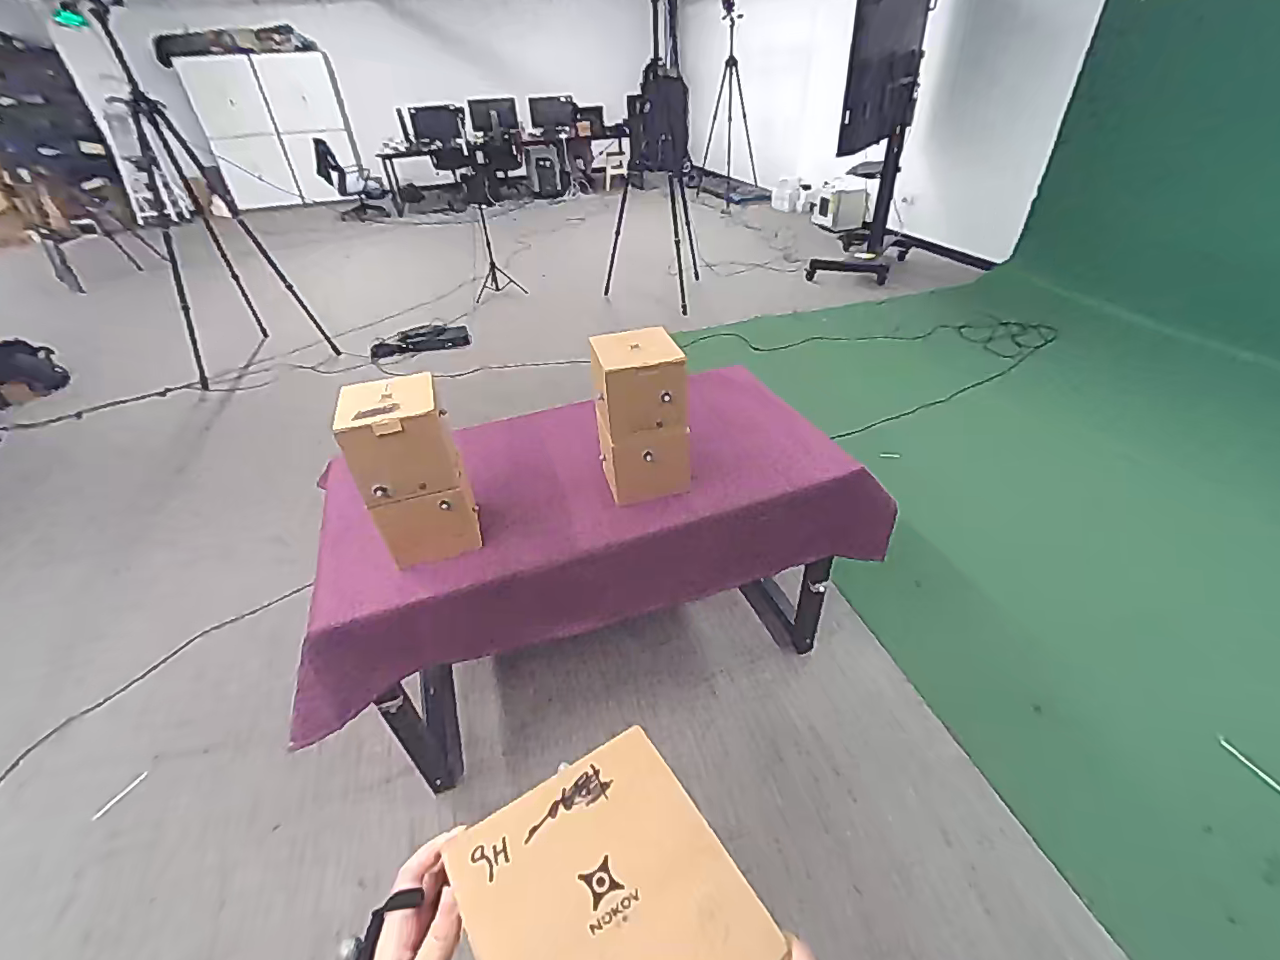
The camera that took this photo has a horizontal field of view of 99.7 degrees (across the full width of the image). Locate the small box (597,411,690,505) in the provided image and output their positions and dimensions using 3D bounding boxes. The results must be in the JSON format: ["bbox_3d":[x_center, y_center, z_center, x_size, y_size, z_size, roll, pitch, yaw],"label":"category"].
[{"bbox_3d":[0.010,-0.063,1.237,0.179,0.176,0.168,-12,38,-9],"label":"small box"}]

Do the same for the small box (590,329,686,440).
[{"bbox_3d":[-0.003,-0.197,1.145,0.168,0.176,0.179,-12,37,-10],"label":"small box"}]

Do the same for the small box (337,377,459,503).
[{"bbox_3d":[-0.451,-0.073,1.030,0.168,0.176,0.179,-14,37,-14],"label":"small box"}]

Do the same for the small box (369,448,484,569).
[{"bbox_3d":[-0.438,0.060,1.126,0.179,0.176,0.168,-14,38,-13],"label":"small box"}]
